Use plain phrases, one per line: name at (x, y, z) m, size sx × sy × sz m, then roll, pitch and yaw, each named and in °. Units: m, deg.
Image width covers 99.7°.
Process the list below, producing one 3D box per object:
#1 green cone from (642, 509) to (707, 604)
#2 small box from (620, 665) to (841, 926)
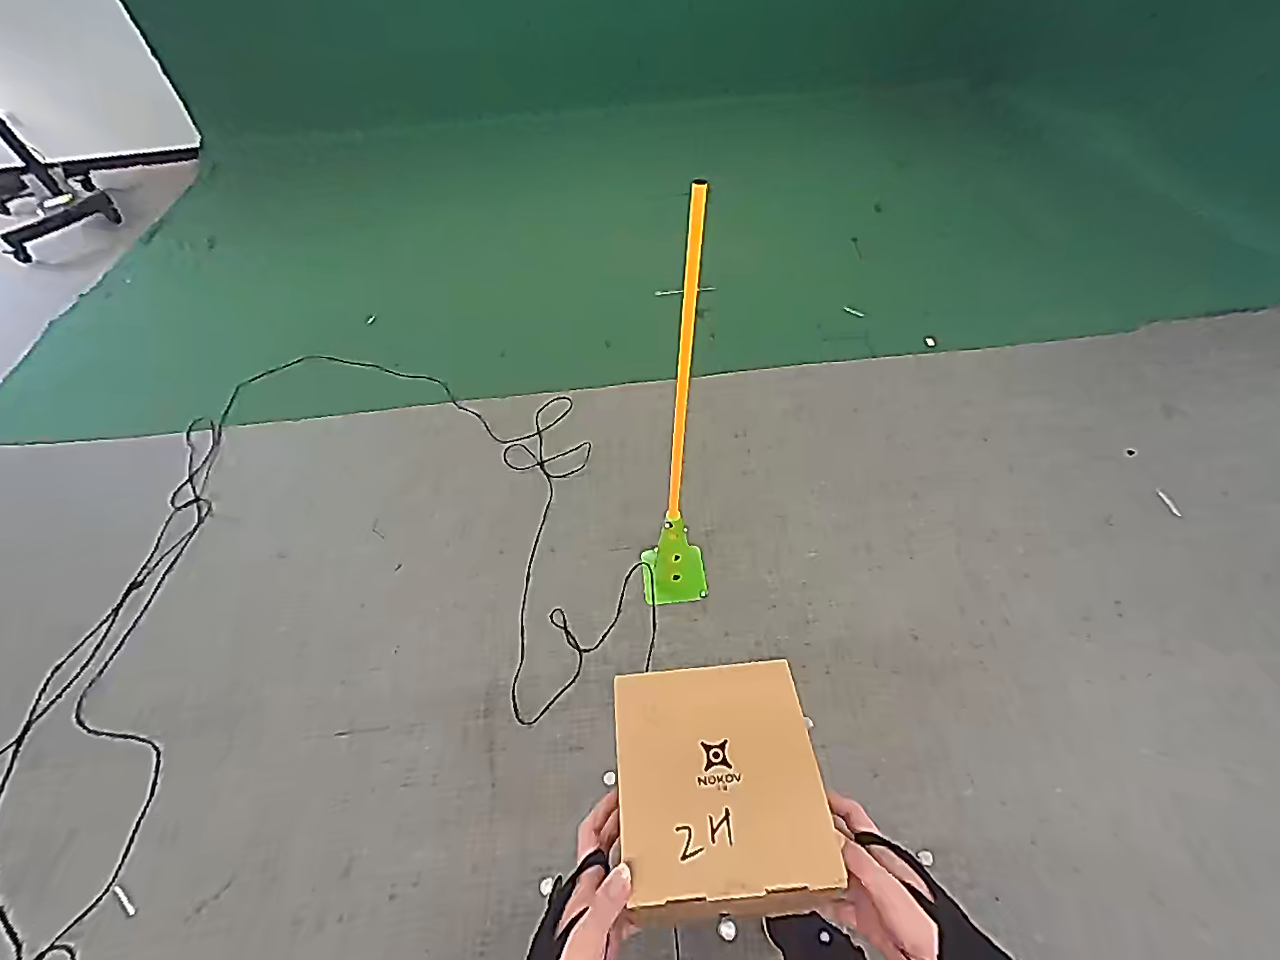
green cone at (0.100, 0.203, 1.643) m, size 0.202 × 0.368 × 0.200 m, roll -6°, pitch 52°, yaw 0°
small box at (0.068, 0.299, 0.514) m, size 0.168 × 0.176 × 0.179 m, roll -4°, pitch 46°, yaw 0°
